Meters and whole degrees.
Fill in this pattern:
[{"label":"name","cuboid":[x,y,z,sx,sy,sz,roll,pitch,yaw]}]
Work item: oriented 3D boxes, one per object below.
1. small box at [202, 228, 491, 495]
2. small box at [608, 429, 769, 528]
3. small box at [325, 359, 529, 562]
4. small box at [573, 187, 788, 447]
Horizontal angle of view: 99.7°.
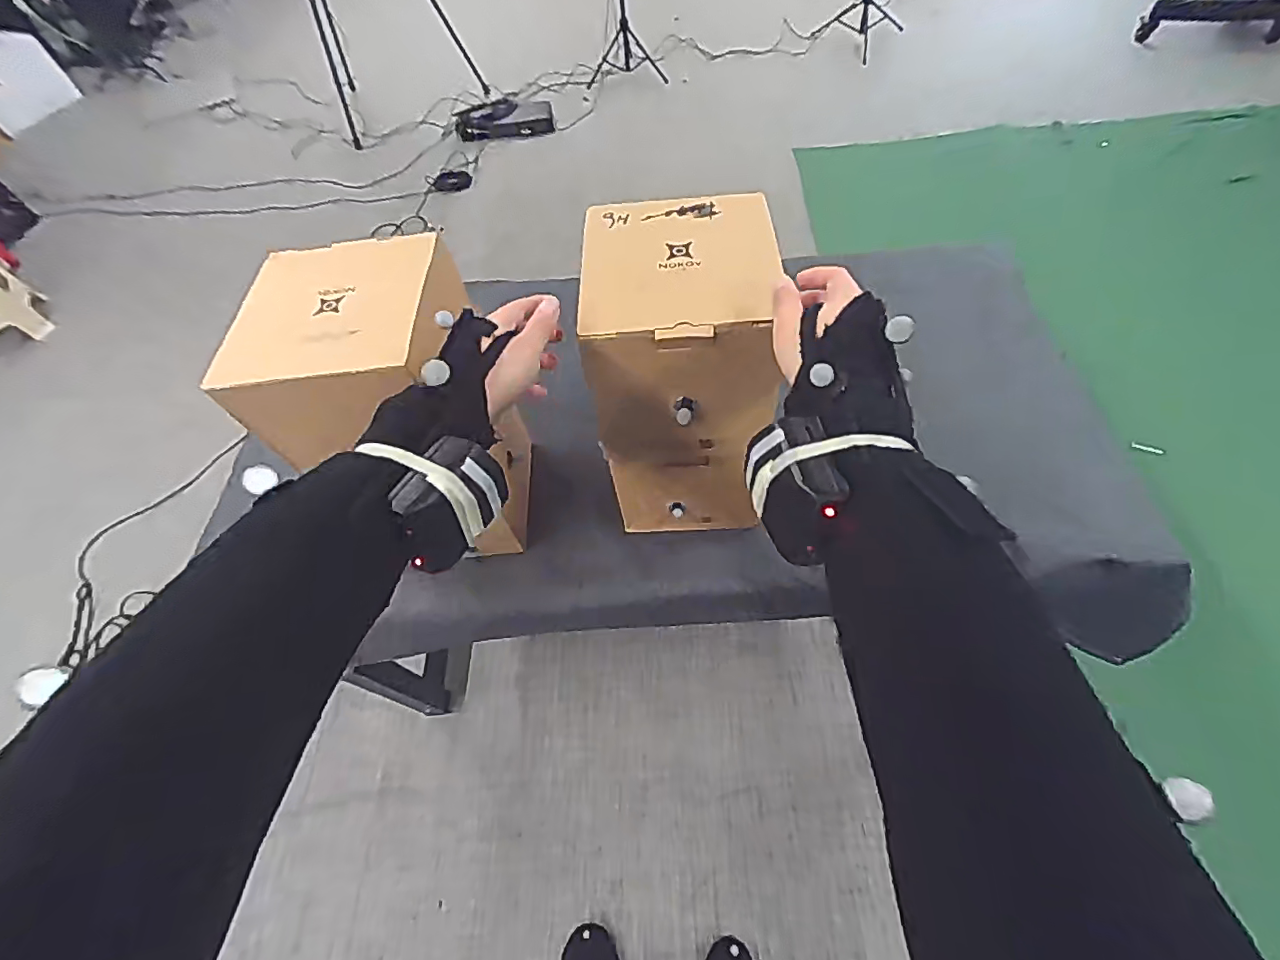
[{"label":"small box","cuboid":[-0.251,-0.107,0.519,0.168,0.176,0.179,-7,58,3]},{"label":"small box","cuboid":[0.054,-0.059,0.654,0.168,0.176,0.179,-3,58,4]},{"label":"small box","cuboid":[-0.237,-0.019,0.656,0.168,0.176,0.179,-6,58,2]},{"label":"small box","cuboid":[0.037,-0.142,0.514,0.168,0.176,0.179,-3,58,4]}]
